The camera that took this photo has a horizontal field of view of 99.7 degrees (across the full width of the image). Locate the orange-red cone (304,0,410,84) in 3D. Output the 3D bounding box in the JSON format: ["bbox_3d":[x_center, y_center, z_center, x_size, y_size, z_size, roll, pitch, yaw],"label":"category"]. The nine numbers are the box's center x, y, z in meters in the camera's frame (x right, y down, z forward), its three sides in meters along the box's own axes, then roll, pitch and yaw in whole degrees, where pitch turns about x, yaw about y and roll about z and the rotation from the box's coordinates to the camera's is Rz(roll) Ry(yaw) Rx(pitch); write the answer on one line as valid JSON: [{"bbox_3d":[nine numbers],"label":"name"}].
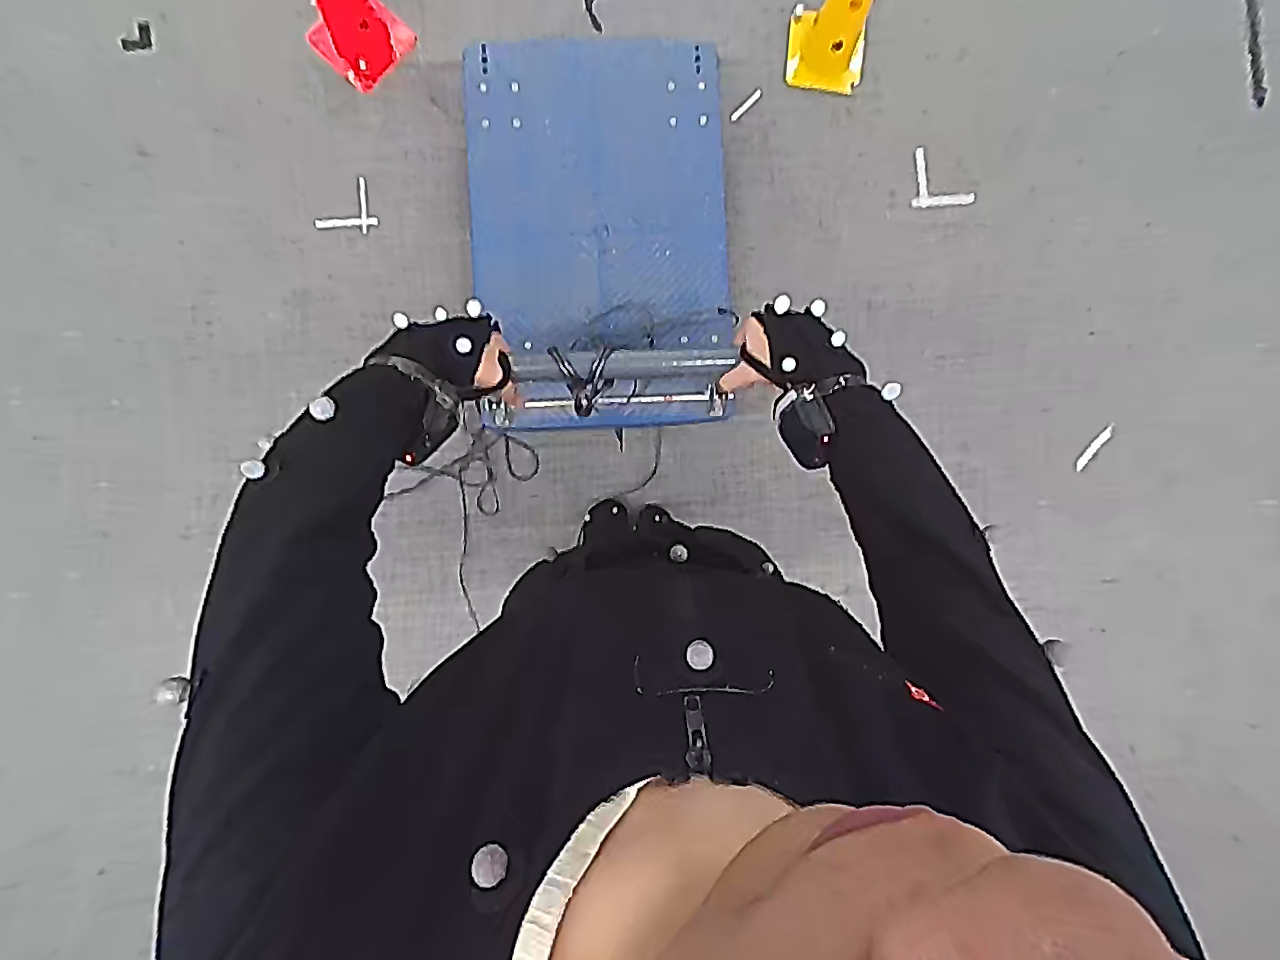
[{"bbox_3d":[-0.684,-1.109,1.168,0.198,0.360,0.199,42,86,-4],"label":"orange-red cone"}]
